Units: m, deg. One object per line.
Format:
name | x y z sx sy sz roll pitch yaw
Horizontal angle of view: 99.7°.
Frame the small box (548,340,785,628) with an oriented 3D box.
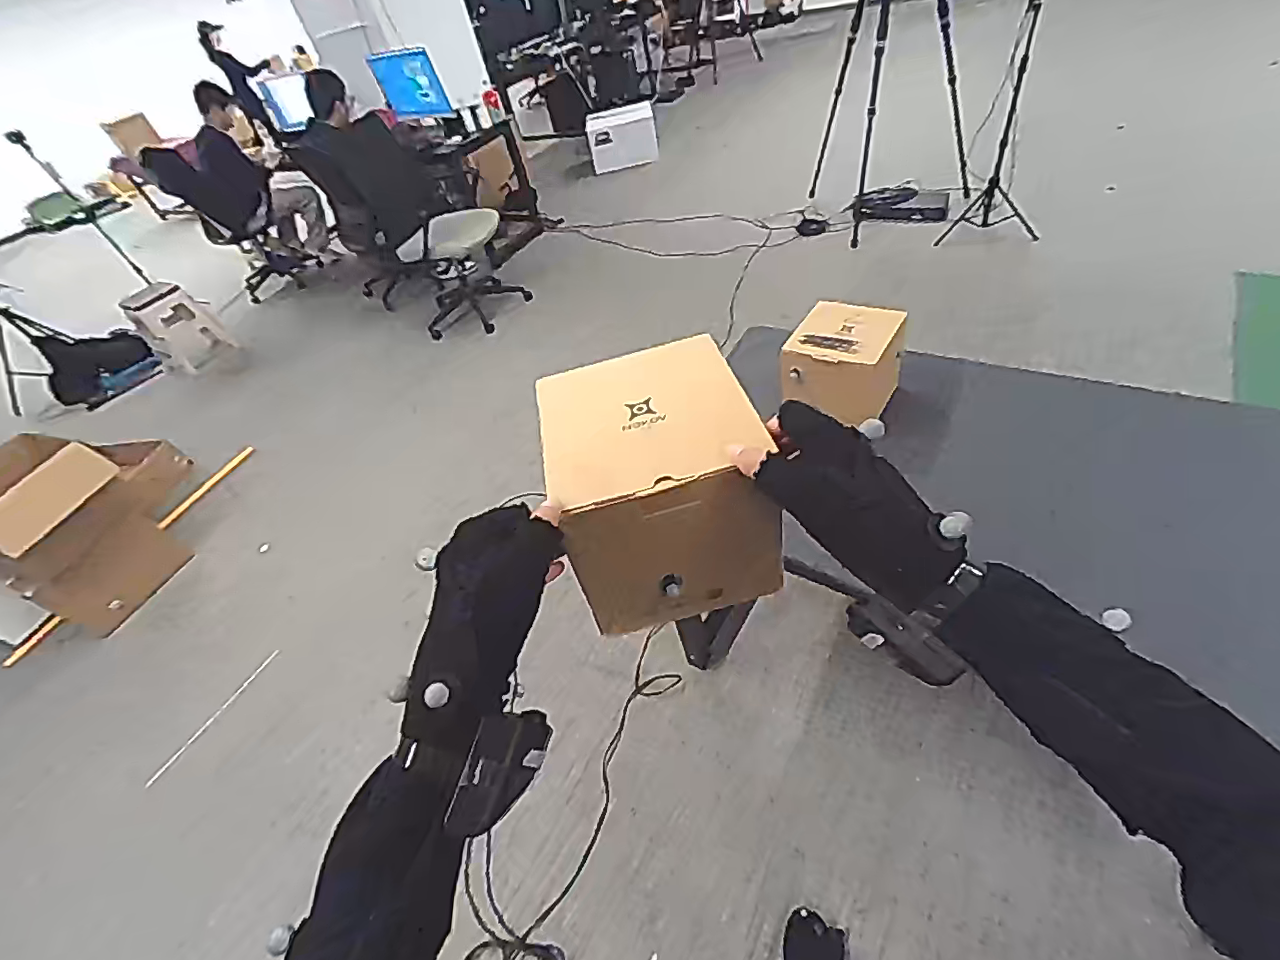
small box | 0.022 0.003 0.493 0.168 0.176 0.179 -15 44 0
